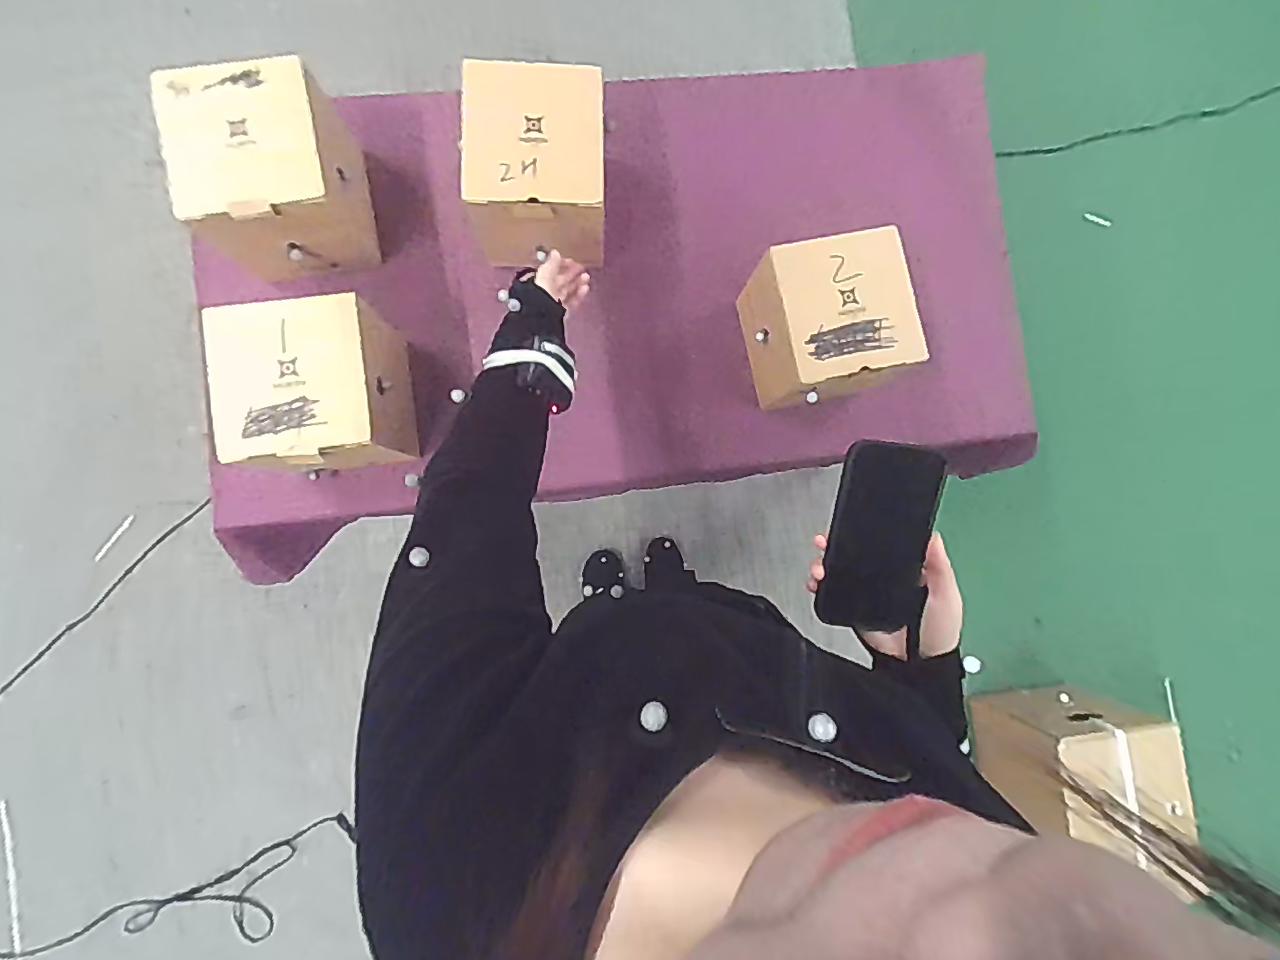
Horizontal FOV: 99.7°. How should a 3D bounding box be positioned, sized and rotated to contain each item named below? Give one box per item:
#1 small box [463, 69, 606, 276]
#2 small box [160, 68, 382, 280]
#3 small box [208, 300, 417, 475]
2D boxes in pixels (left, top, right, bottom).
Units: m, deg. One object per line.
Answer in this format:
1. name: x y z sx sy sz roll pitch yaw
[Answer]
1. small box: -0.131 -0.396 0.722 0.168 0.176 0.179 0 86 -4
2. small box: -0.456 -0.375 0.698 0.168 0.176 0.179 -11 88 -5
3. small box: -0.395 -0.104 0.682 0.168 0.176 0.179 -8 85 -5
